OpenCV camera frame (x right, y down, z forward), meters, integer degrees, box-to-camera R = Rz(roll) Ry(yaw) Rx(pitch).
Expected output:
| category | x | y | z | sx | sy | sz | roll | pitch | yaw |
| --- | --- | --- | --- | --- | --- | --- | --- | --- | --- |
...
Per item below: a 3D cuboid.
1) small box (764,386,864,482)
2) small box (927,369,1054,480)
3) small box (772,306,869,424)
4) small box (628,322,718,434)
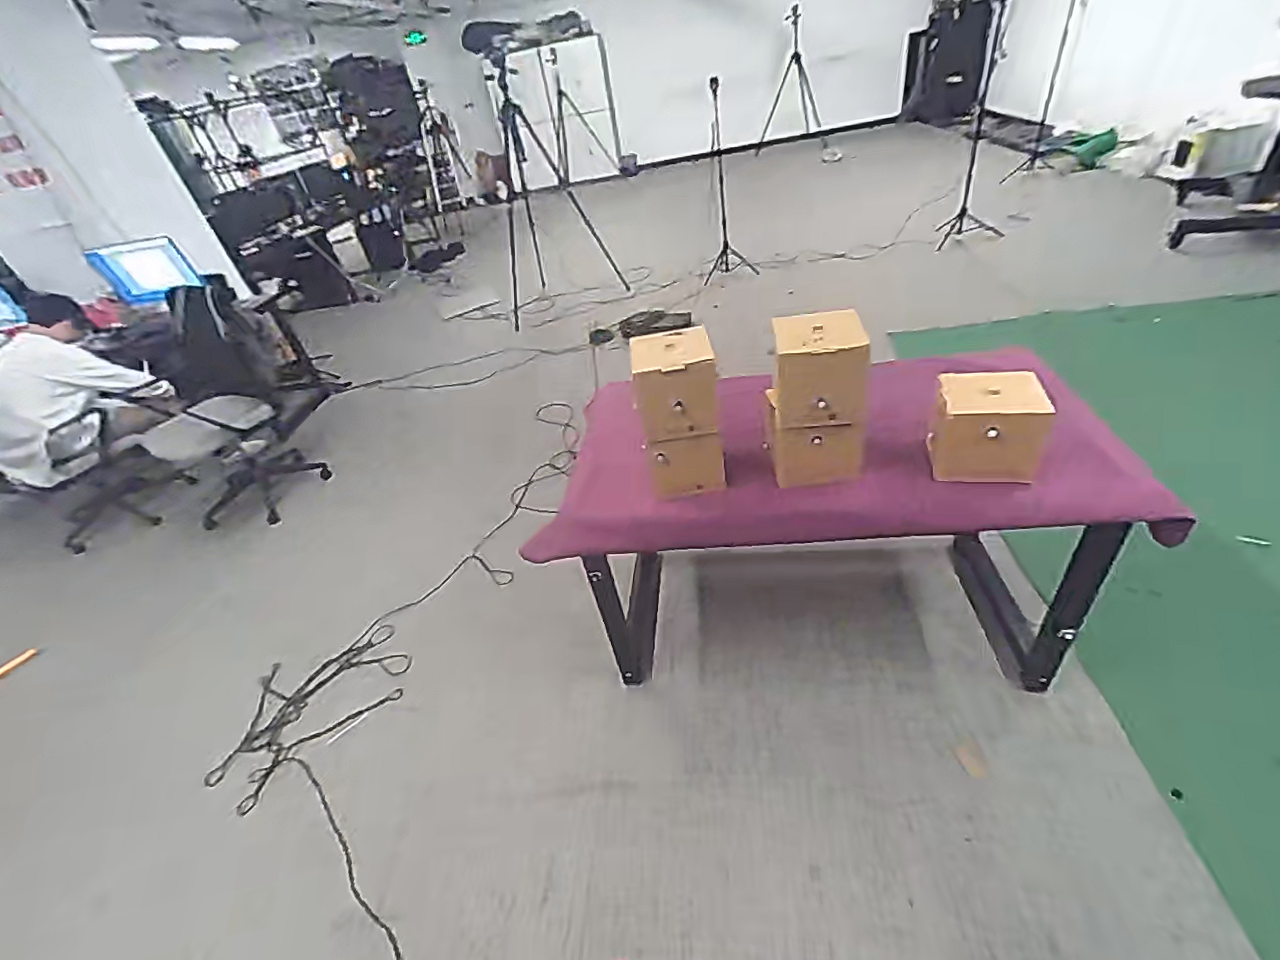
| category | x | y | z | sx | sy | sz | roll | pitch | yaw |
| --- | --- | --- | --- | --- | --- | --- | --- | --- | --- |
| small box | 0.381 | -0.110 | 1.205 | 0.179 | 0.176 | 0.168 | -8 | 38 | 5 |
| small box | 0.709 | -0.113 | 1.116 | 0.179 | 0.176 | 0.168 | 1 | 39 | 19 |
| small box | 0.356 | -0.232 | 1.097 | 0.168 | 0.176 | 0.179 | -3 | 39 | 11 |
| small box | 0.070 | -0.210 | 1.148 | 0.168 | 0.176 | 0.179 | -8 | 38 | 5 |
